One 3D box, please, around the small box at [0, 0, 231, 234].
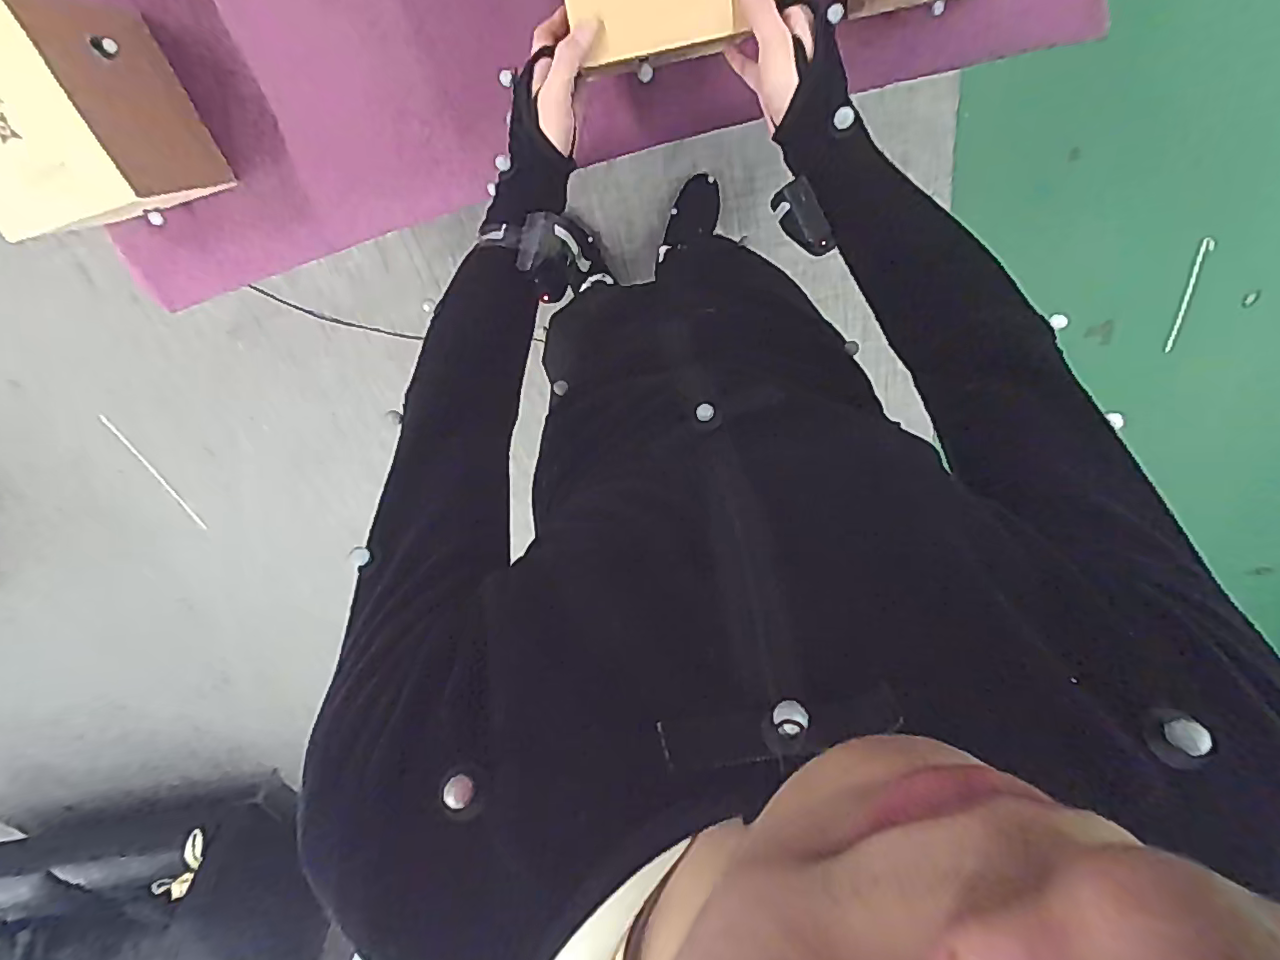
[{"bbox_3d":[-0.603,-0.384,0.574,0.168,0.176,0.179,-11,123,8],"label":"small box"}]
